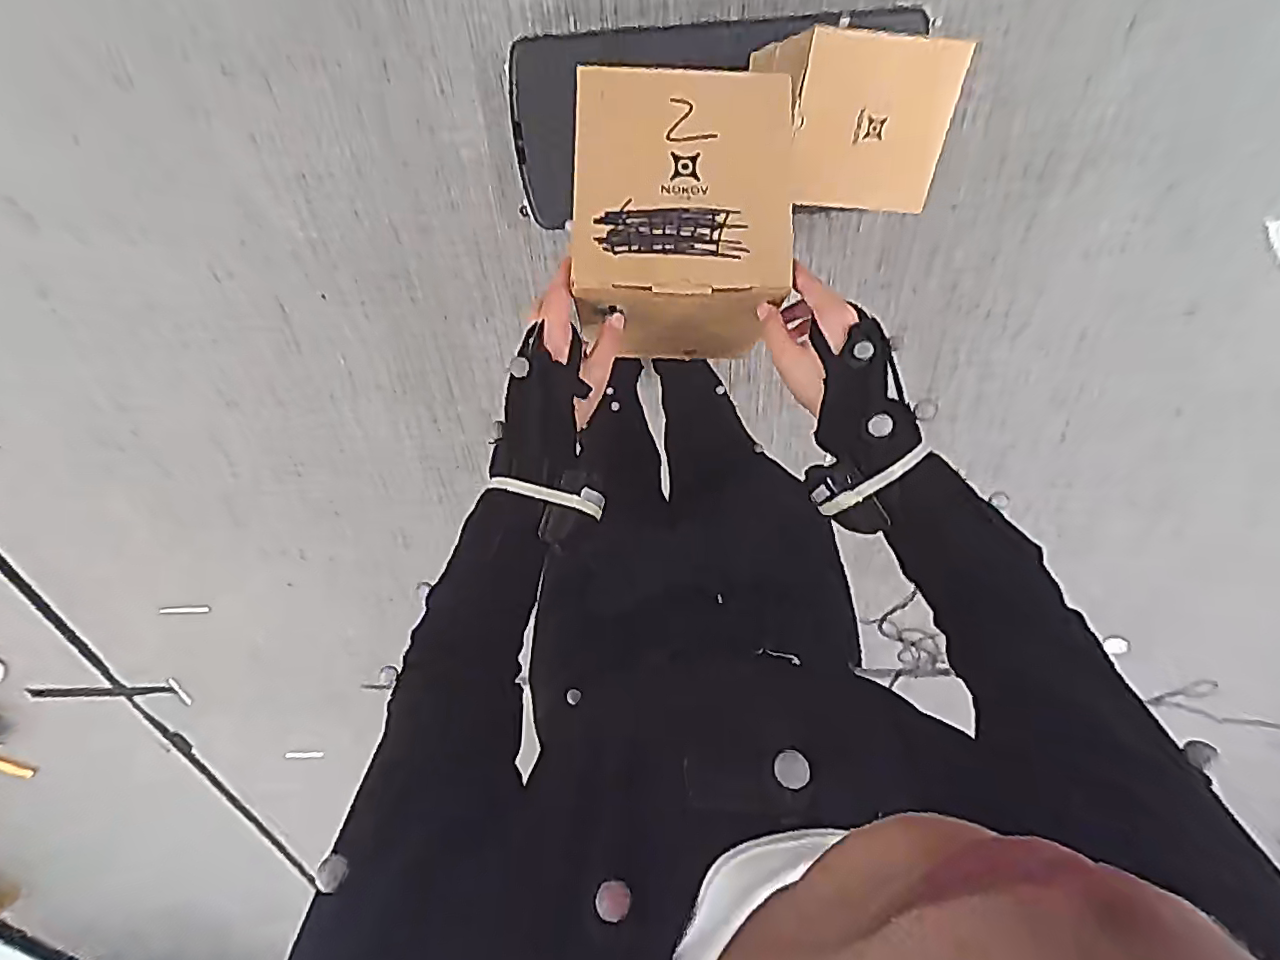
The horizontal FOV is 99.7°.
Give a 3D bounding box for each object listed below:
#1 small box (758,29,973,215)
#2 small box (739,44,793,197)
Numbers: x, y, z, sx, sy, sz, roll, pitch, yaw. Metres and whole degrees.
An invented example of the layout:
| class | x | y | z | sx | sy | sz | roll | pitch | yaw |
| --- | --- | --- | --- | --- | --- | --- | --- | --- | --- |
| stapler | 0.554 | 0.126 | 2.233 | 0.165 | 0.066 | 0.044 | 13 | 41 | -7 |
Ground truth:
| class | x | y | z | sx | sy | sz | roll | pitch | yaw |
| --- | --- | --- | --- | --- | --- | --- | --- | --- | --- |
| small box | 0.258 | -0.439 | 0.670 | 0.179 | 0.176 | 0.168 | 4 | 124 | -1 |
| small box | 0.247 | -0.529 | 0.806 | 0.168 | 0.176 | 0.179 | 1 | 124 | -1 |
